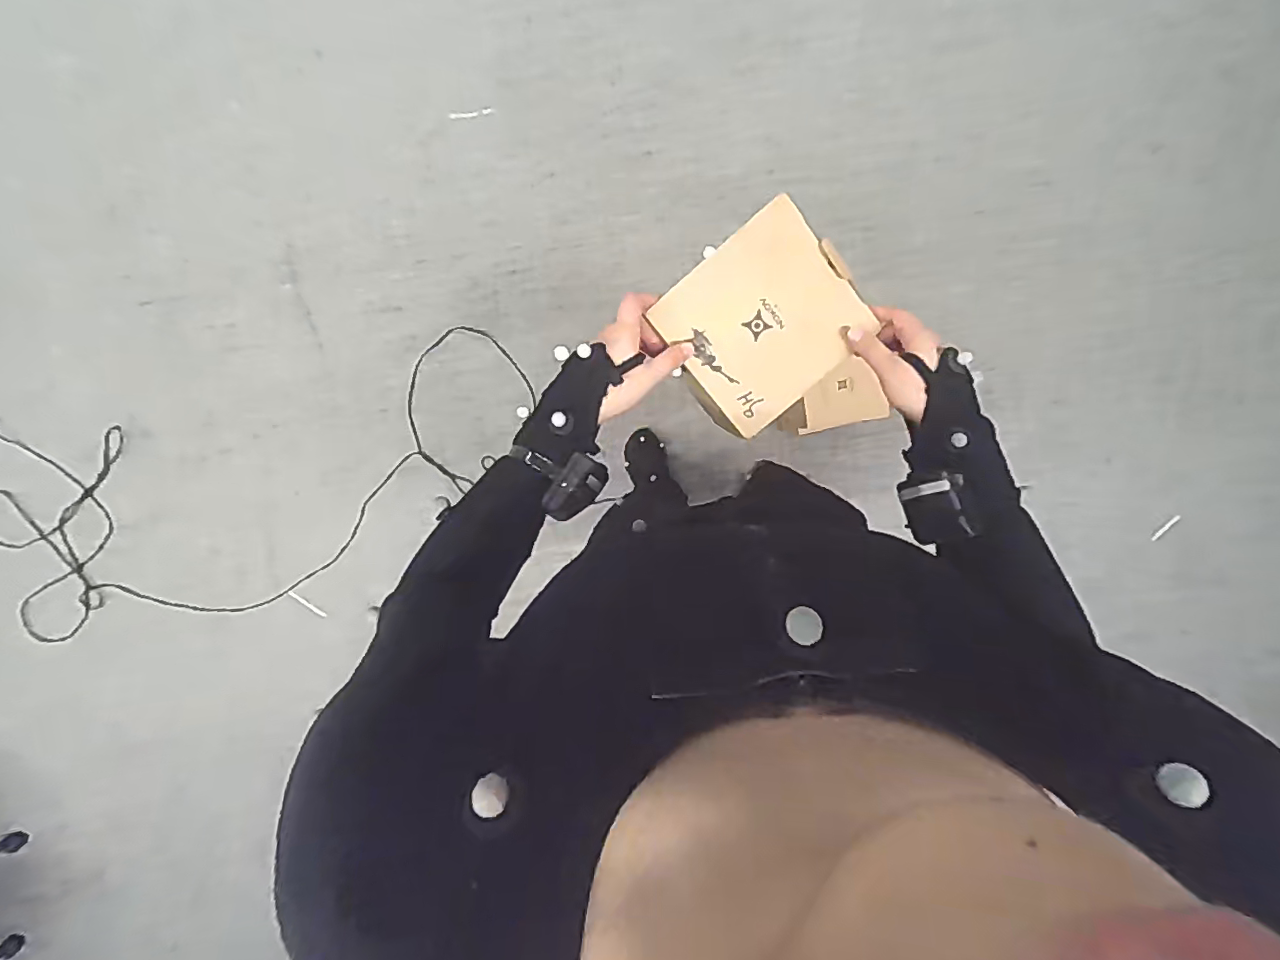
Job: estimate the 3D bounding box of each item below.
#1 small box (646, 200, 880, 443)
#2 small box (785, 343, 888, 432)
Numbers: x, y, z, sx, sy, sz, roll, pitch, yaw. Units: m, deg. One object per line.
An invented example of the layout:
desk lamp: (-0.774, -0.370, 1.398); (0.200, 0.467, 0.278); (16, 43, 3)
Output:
small box: (0.119, -0.166, 0.606); (0.179, 0.176, 0.168); (-39, 99, 6)
small box: (0.425, -0.202, 1.206); (0.179, 0.176, 0.168); (-9, 96, 3)
